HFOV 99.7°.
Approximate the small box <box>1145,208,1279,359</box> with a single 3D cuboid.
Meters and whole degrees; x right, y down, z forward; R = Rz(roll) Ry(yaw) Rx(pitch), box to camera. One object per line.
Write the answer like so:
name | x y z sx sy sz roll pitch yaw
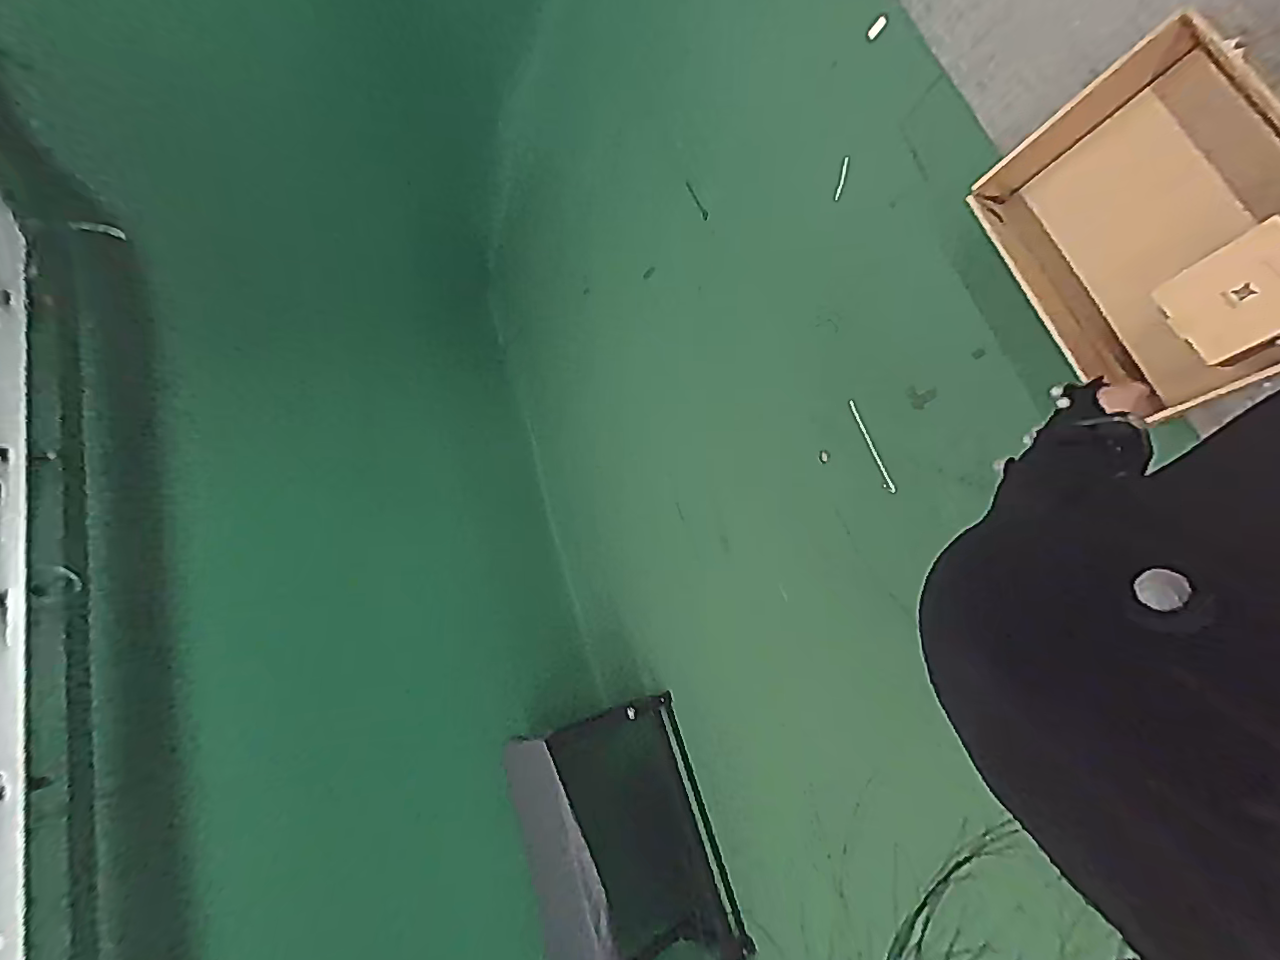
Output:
small box | 1.032 -0.321 0.918 0.179 0.176 0.168 -44 61 50
